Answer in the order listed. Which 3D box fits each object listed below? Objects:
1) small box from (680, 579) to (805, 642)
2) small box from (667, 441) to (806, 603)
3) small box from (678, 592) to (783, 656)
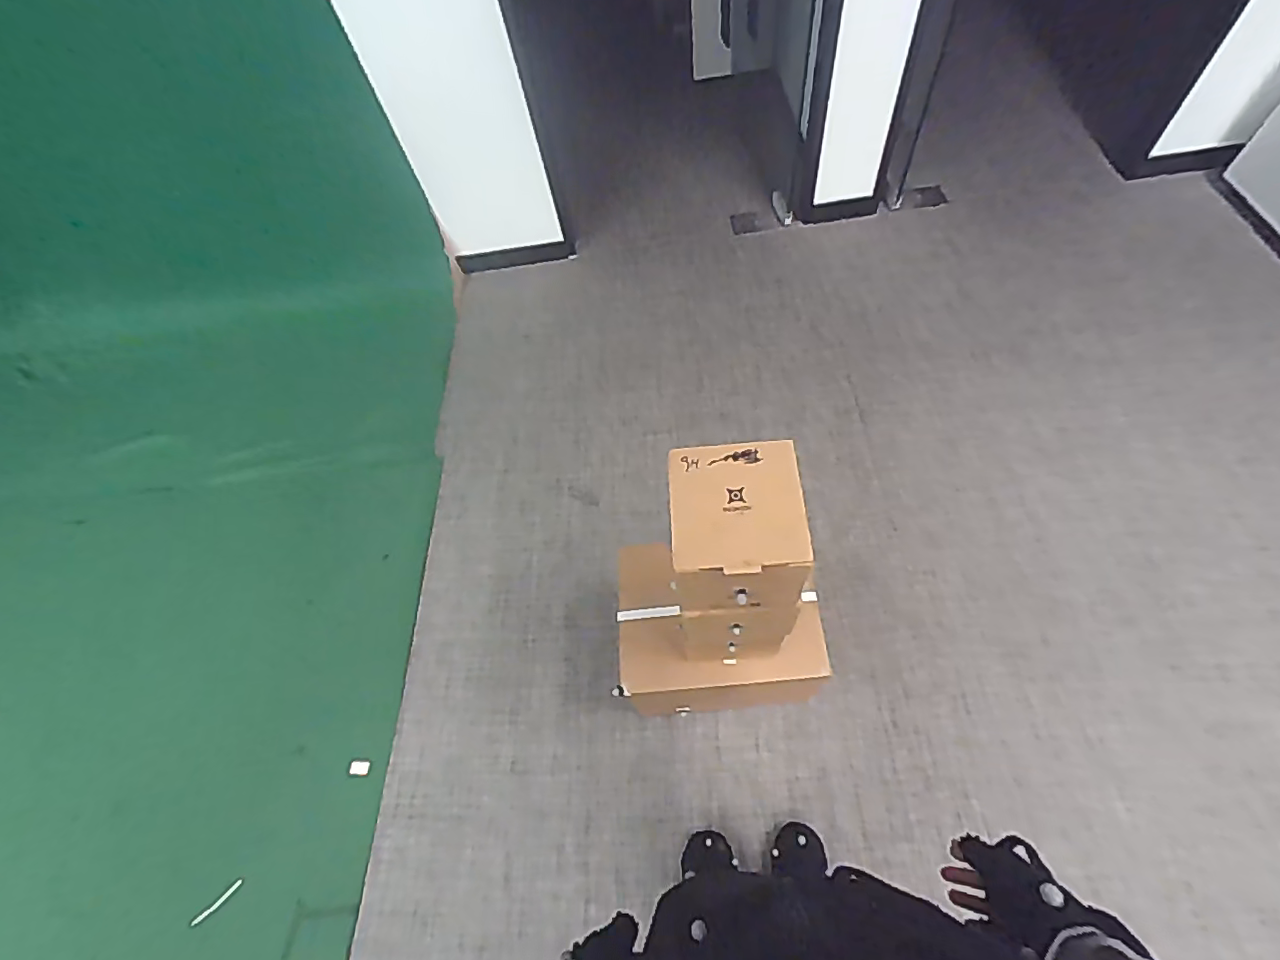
[{"bbox_3d":[0.150,0.156,0.880,0.179,0.176,0.168,-8,60,3],"label":"small box"},{"bbox_3d":[0.128,0.067,0.744,0.168,0.176,0.179,-4,61,7],"label":"small box"},{"bbox_3d":[0.164,0.232,1.025,0.179,0.176,0.168,-5,61,4],"label":"small box"}]
